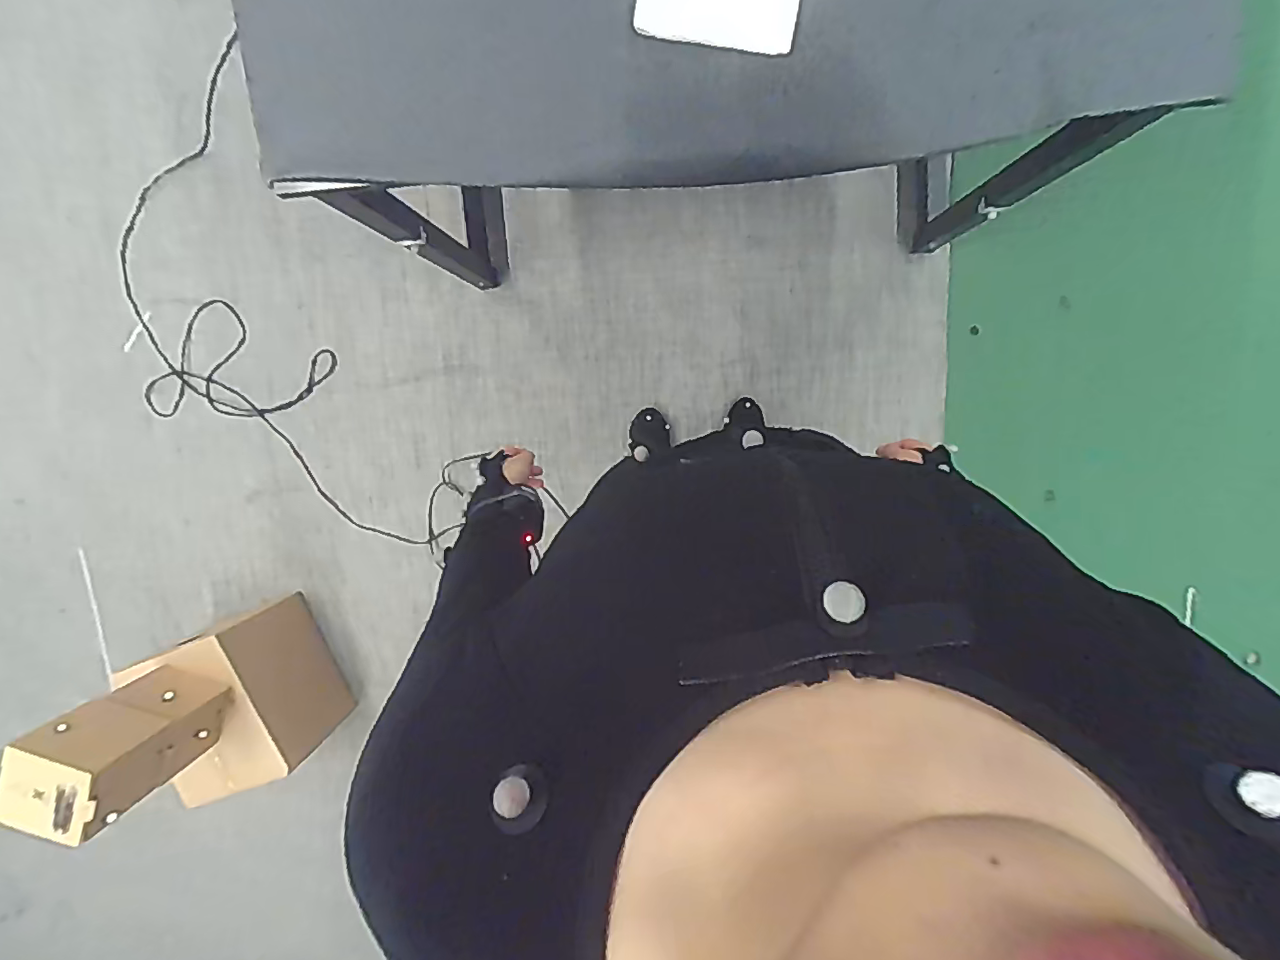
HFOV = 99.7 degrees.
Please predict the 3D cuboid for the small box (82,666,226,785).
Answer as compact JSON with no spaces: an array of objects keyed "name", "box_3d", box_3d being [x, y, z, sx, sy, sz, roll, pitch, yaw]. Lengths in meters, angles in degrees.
[{"name":"small box","box_3d":[-1.115,0.558,1.254,0.179,0.176,0.168,18,99,-2]}]
